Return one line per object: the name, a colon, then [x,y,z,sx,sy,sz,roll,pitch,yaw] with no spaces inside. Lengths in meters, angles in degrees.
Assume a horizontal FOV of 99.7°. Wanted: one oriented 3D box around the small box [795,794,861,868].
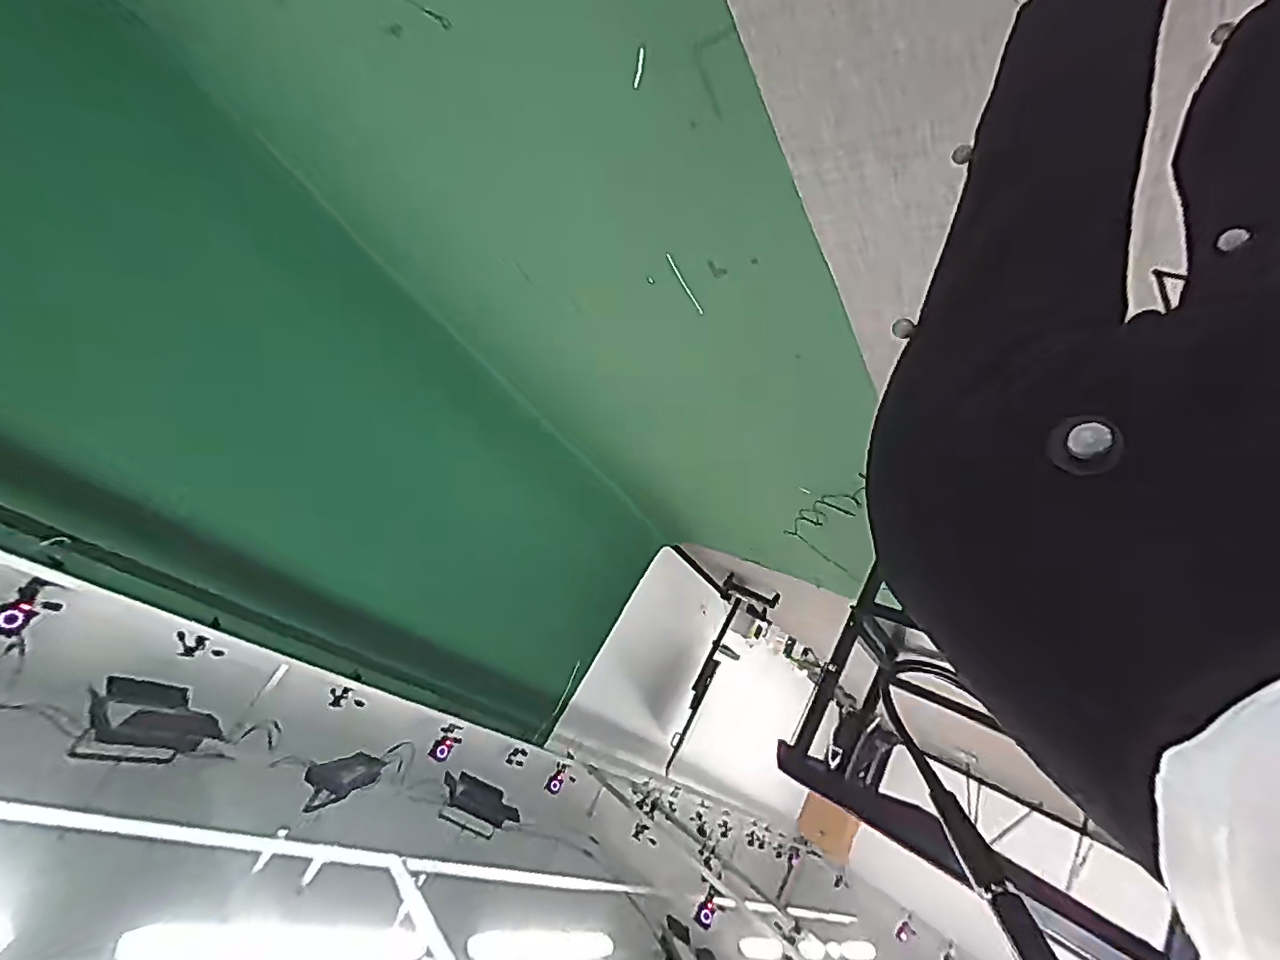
small box: [0.723,1.337,2.061,0.179,0.176,0.168,15,155,42]
